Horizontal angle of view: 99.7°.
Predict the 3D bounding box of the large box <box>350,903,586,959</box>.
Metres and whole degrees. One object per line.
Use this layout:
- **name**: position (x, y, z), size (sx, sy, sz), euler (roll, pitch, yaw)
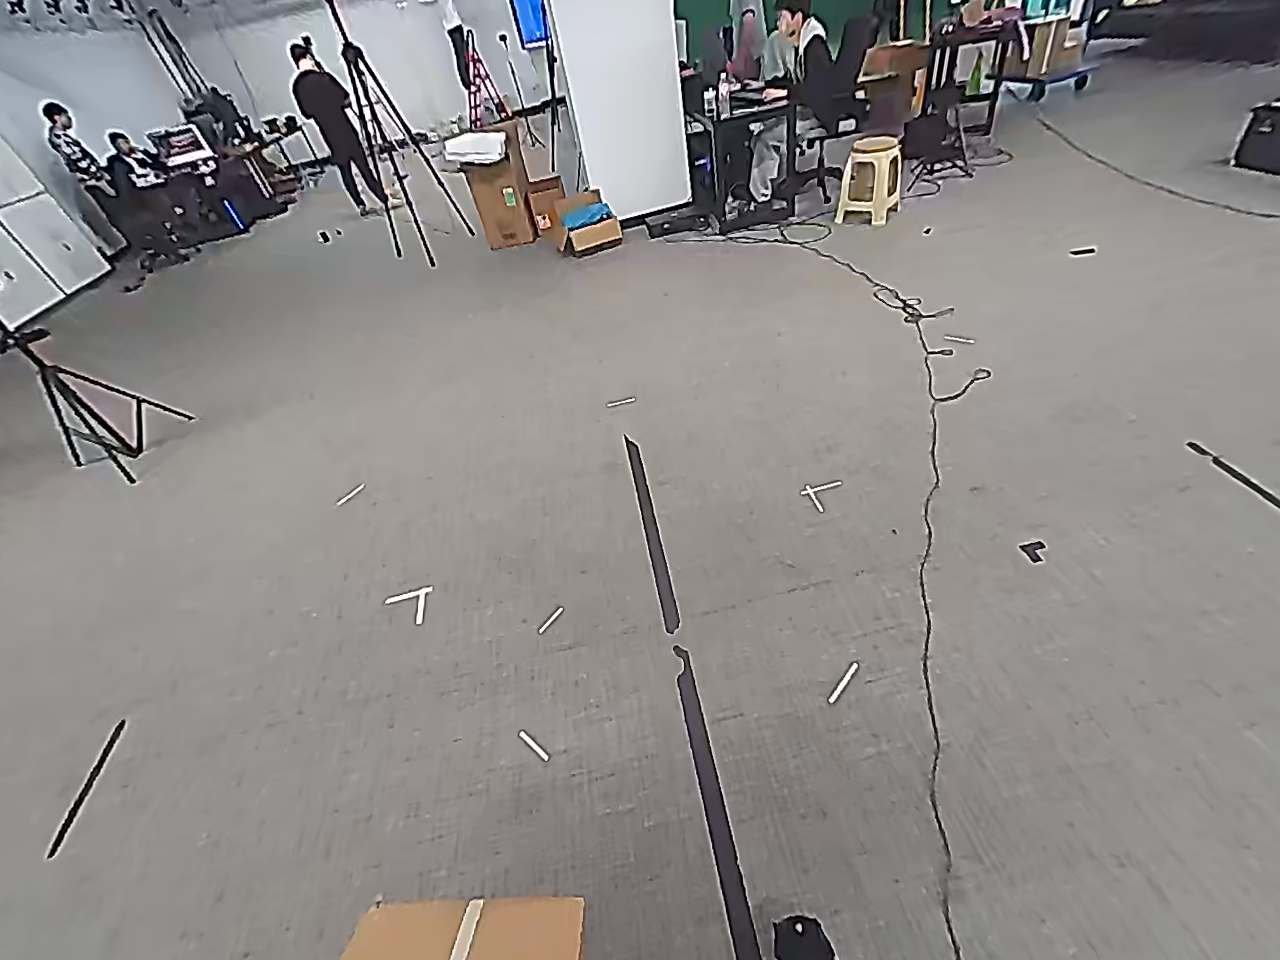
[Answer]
- **large box**: position (-0.227, 0.790, 0.607), size (0.320, 0.320, 0.408), euler (1, 4, -1)
